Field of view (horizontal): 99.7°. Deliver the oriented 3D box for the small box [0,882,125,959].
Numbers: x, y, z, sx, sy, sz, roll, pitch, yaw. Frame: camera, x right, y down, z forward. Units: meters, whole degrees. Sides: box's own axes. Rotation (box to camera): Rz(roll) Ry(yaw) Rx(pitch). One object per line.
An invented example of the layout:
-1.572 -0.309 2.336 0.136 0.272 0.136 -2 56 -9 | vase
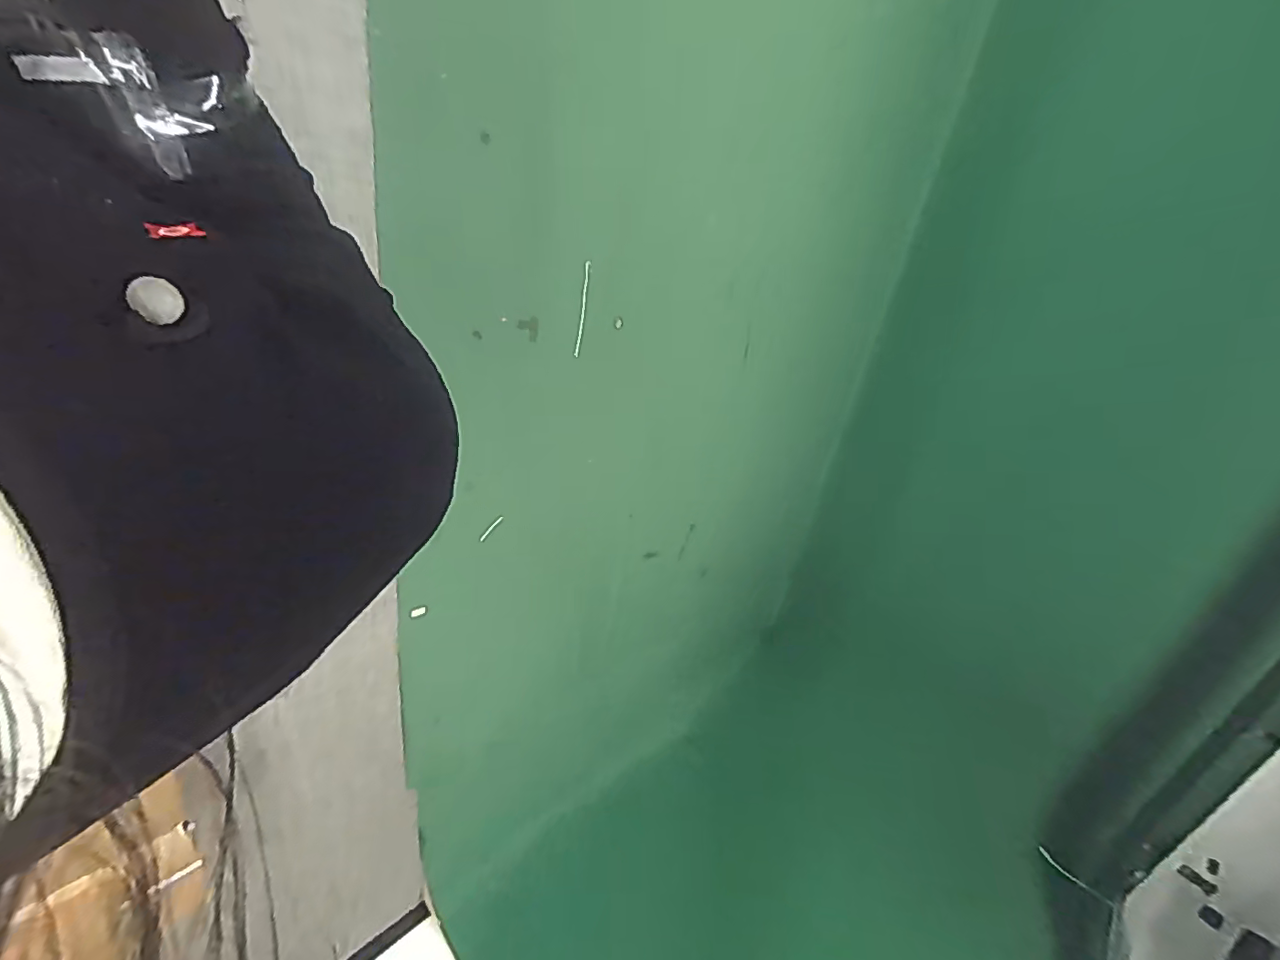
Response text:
-1.195 0.988 1.109 0.179 0.176 0.168 -16 125 -42 | small box
